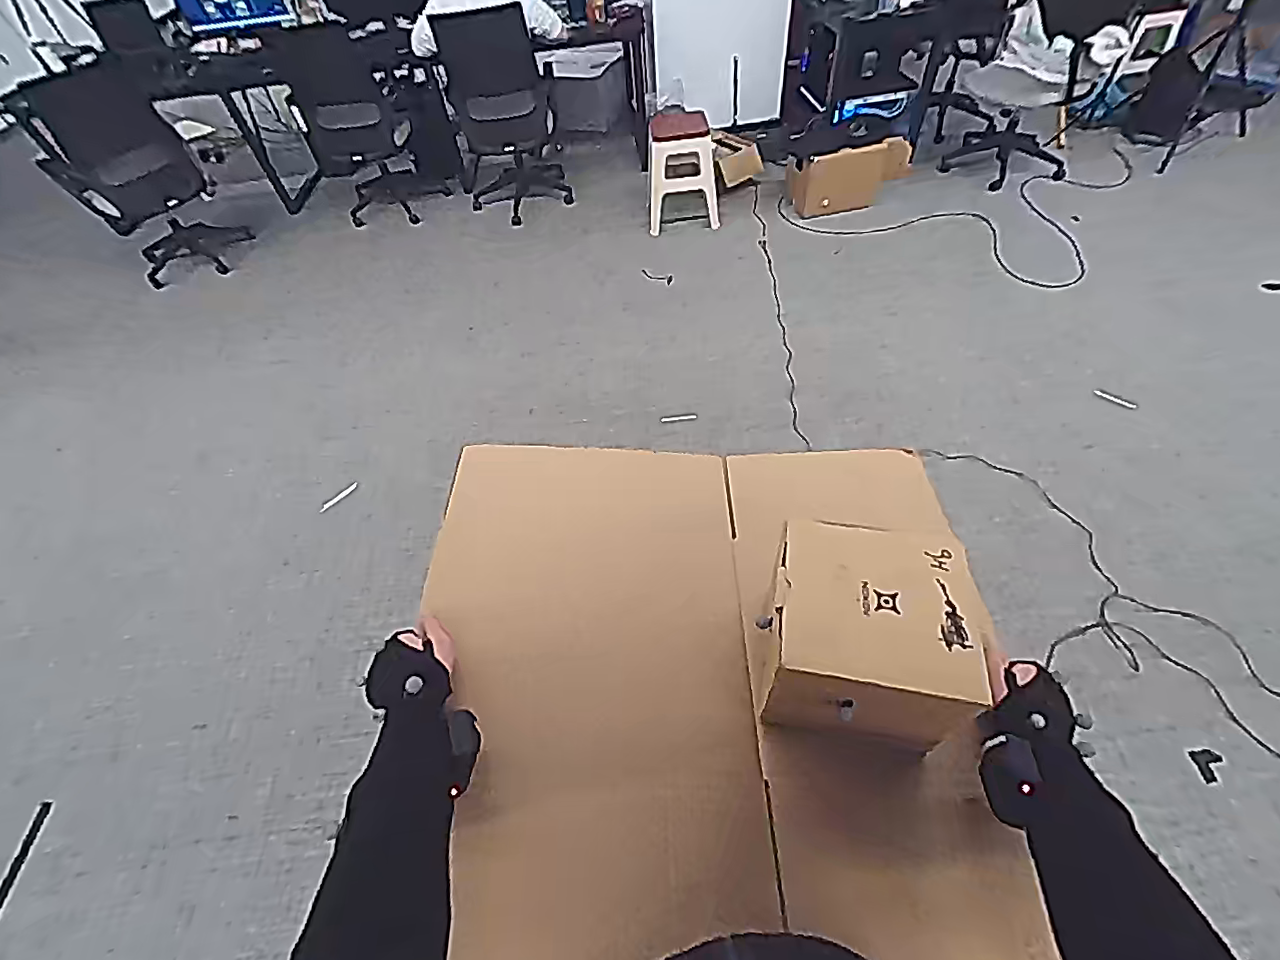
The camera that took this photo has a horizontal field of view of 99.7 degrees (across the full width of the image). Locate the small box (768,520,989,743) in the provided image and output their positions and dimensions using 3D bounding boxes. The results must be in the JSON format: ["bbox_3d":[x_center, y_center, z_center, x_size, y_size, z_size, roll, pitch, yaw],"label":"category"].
[{"bbox_3d":[0.235,0.165,0.580,0.179,0.176,0.168,6,52,12],"label":"small box"}]
